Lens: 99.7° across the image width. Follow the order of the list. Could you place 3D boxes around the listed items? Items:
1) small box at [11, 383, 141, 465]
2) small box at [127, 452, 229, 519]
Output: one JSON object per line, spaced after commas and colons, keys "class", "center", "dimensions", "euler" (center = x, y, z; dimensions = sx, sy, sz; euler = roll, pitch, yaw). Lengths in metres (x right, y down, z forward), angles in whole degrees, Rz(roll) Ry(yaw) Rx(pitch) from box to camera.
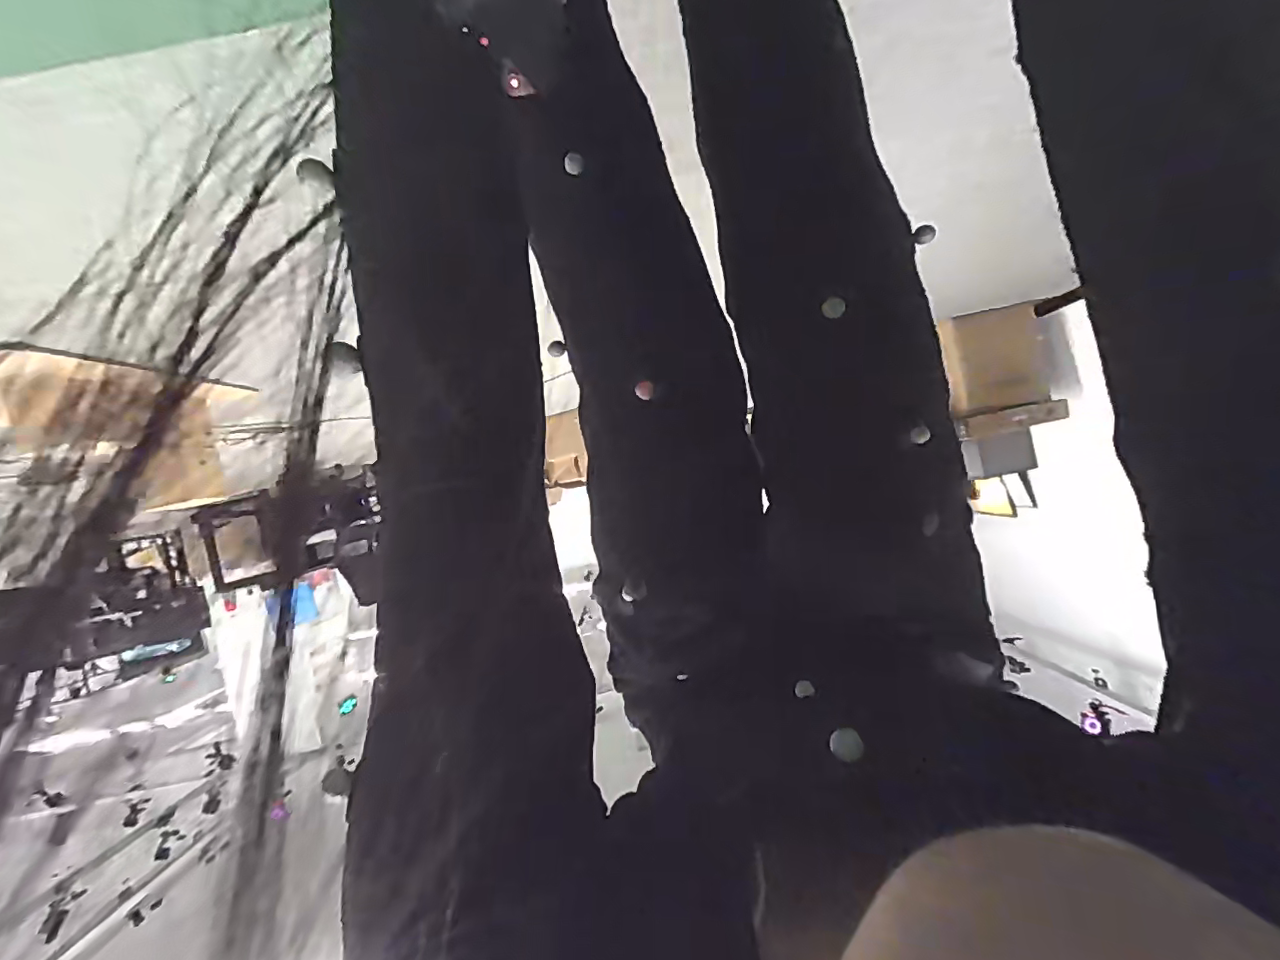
{"class": "small box", "center": [-1.487, -0.144, 1.427], "dimensions": [0.179, 0.176, 0.168], "euler": [-14, 179, 4]}
{"class": "small box", "center": [-1.431, 0.015, 1.672], "dimensions": [0.179, 0.176, 0.168], "euler": [-13, -179, 0]}
